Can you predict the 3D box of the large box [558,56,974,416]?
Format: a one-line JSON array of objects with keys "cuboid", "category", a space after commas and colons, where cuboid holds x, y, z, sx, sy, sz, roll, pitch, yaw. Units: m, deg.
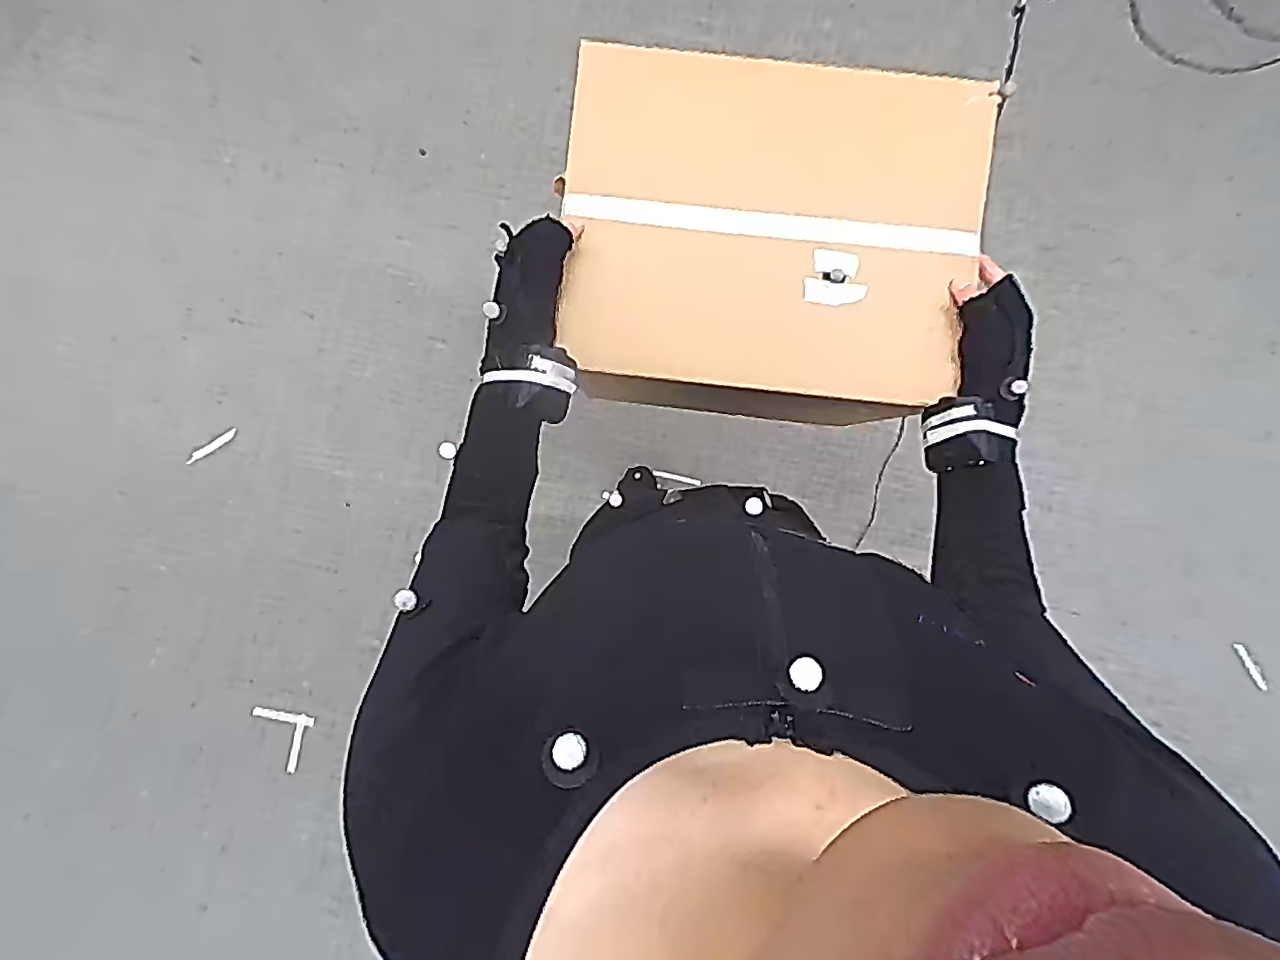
[{"cuboid": [0.124, -0.262, 0.696, 0.408, 0.320, 0.320, 6, 93, 0], "category": "large box"}]
